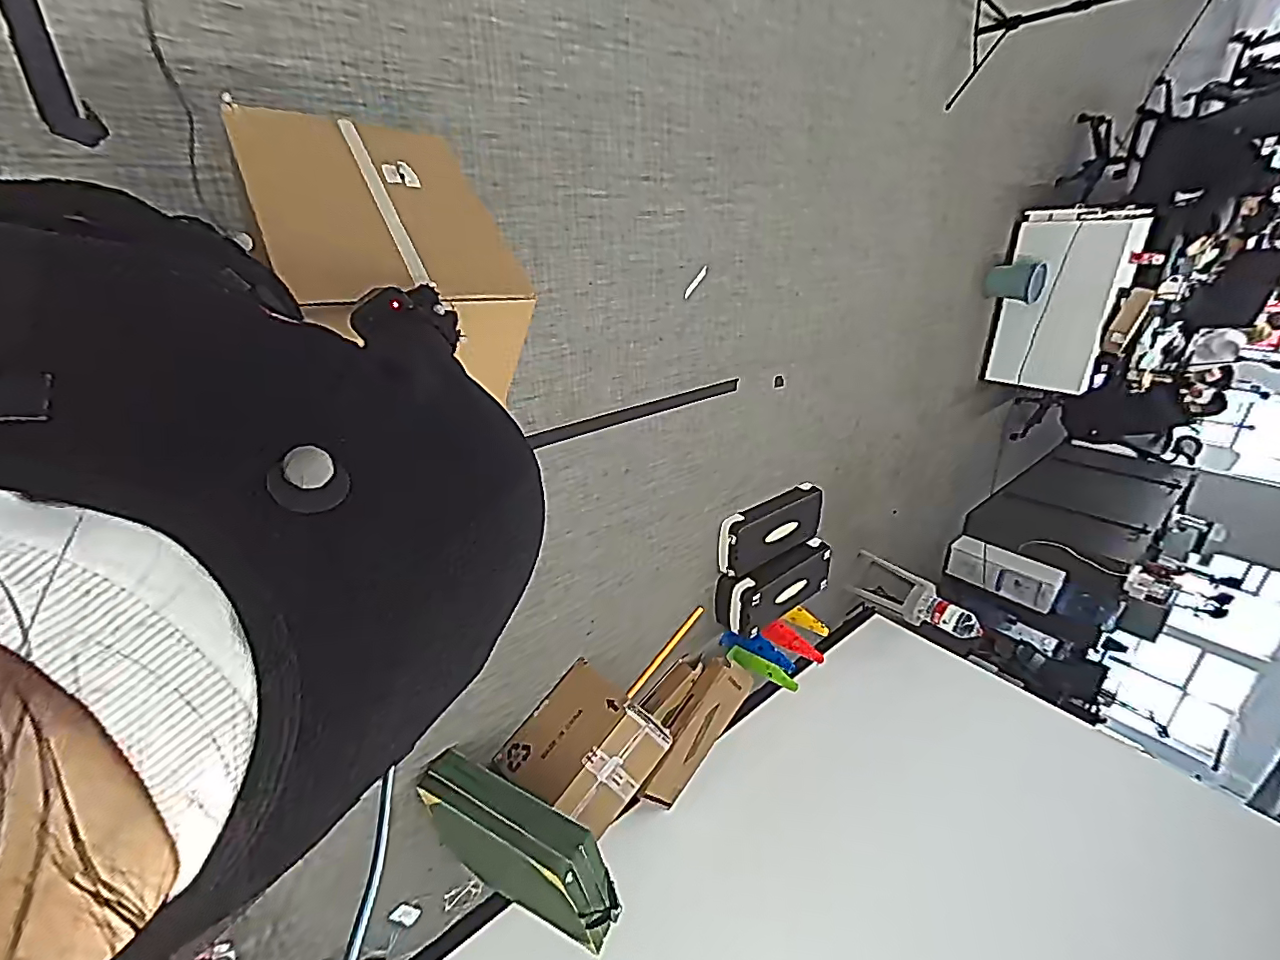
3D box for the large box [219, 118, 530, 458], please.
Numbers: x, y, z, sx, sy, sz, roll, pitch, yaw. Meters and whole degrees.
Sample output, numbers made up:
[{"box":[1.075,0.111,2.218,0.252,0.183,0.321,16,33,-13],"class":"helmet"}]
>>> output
[{"box":[-0.431,-0.304,0.889,0.320,0.408,0.320,-16,154,-36],"class":"large box"}]
